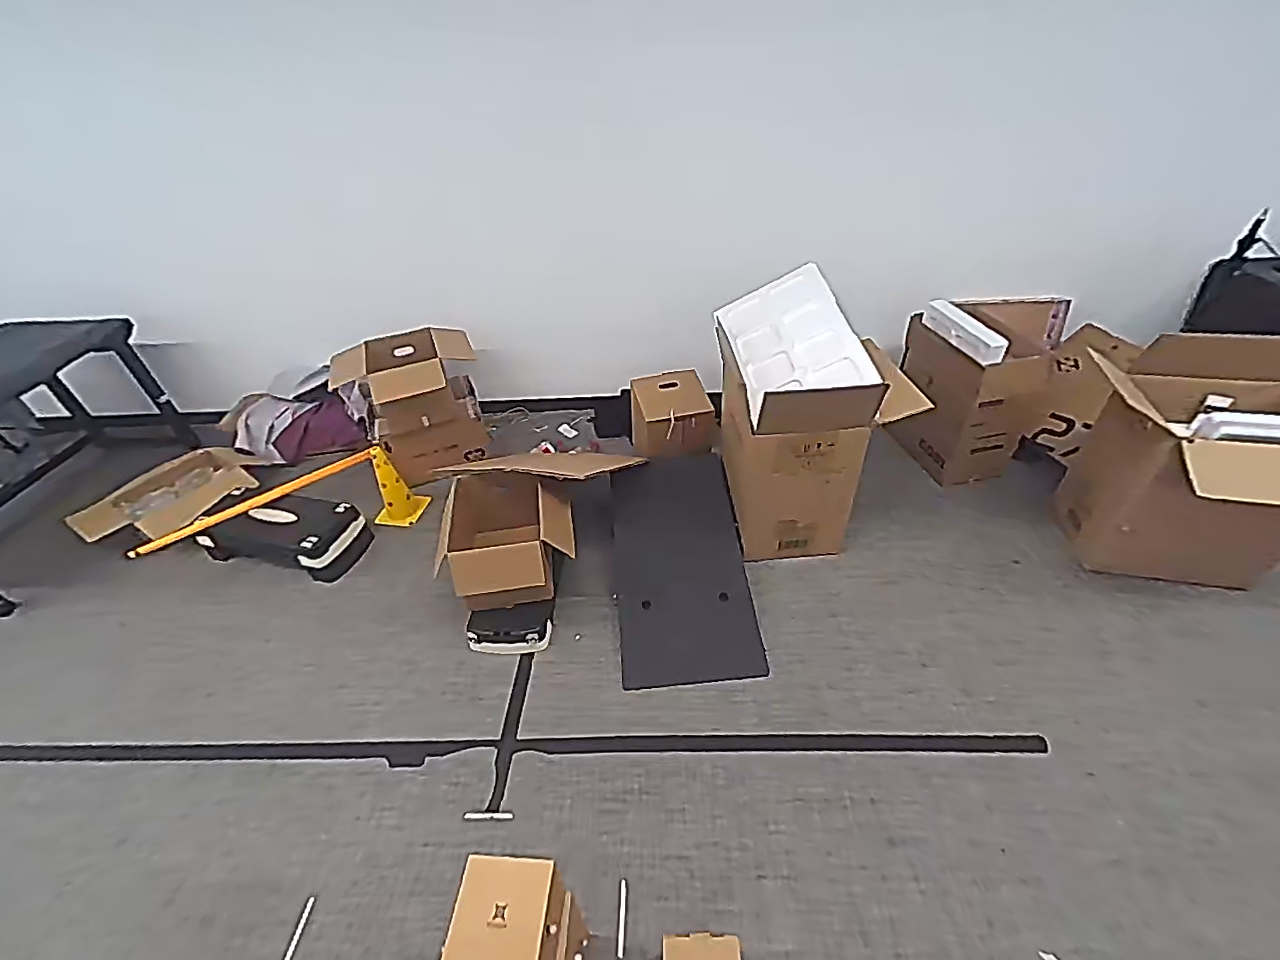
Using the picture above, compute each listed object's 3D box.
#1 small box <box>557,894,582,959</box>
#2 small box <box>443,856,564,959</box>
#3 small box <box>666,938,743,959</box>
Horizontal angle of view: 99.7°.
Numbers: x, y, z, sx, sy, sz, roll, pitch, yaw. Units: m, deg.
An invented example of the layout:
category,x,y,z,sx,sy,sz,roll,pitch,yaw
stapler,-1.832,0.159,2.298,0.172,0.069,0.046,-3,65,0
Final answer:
category,x,y,z,sx,sy,sz,roll,pitch,yaw
small box,-0.220,0.950,1.082,0.179,0.176,0.168,0,39,3
small box,-0.238,0.820,0.985,0.168,0.176,0.179,1,40,5
small box,0.138,1.097,1.137,0.168,0.176,0.179,-3,40,3
